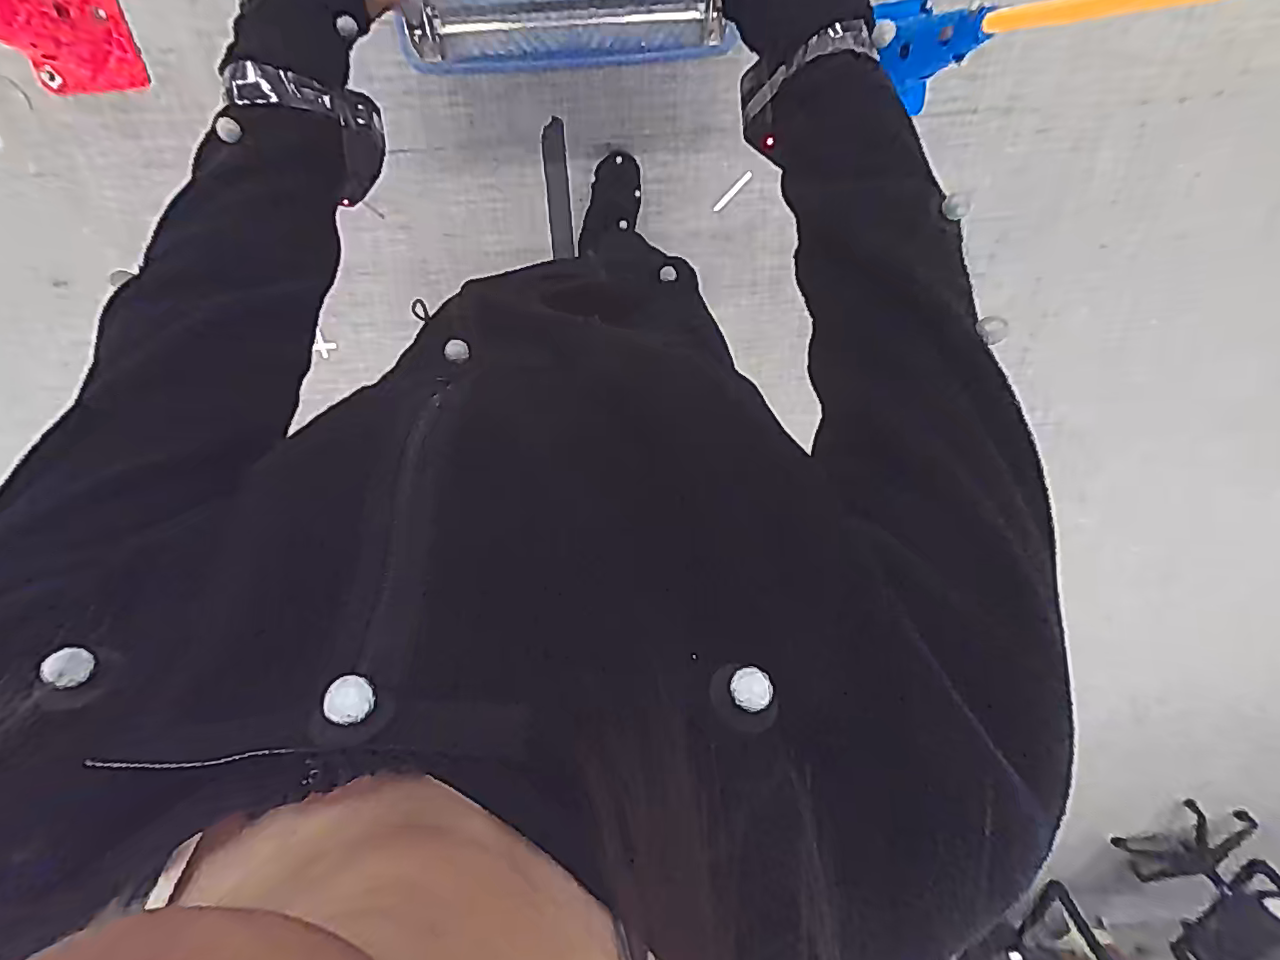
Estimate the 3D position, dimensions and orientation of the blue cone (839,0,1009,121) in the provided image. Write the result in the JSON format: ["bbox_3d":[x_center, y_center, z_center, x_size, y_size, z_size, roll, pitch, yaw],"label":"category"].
[{"bbox_3d":[0.511,-0.774,0.958,0.193,0.380,0.192,-8,119,-1],"label":"blue cone"}]
